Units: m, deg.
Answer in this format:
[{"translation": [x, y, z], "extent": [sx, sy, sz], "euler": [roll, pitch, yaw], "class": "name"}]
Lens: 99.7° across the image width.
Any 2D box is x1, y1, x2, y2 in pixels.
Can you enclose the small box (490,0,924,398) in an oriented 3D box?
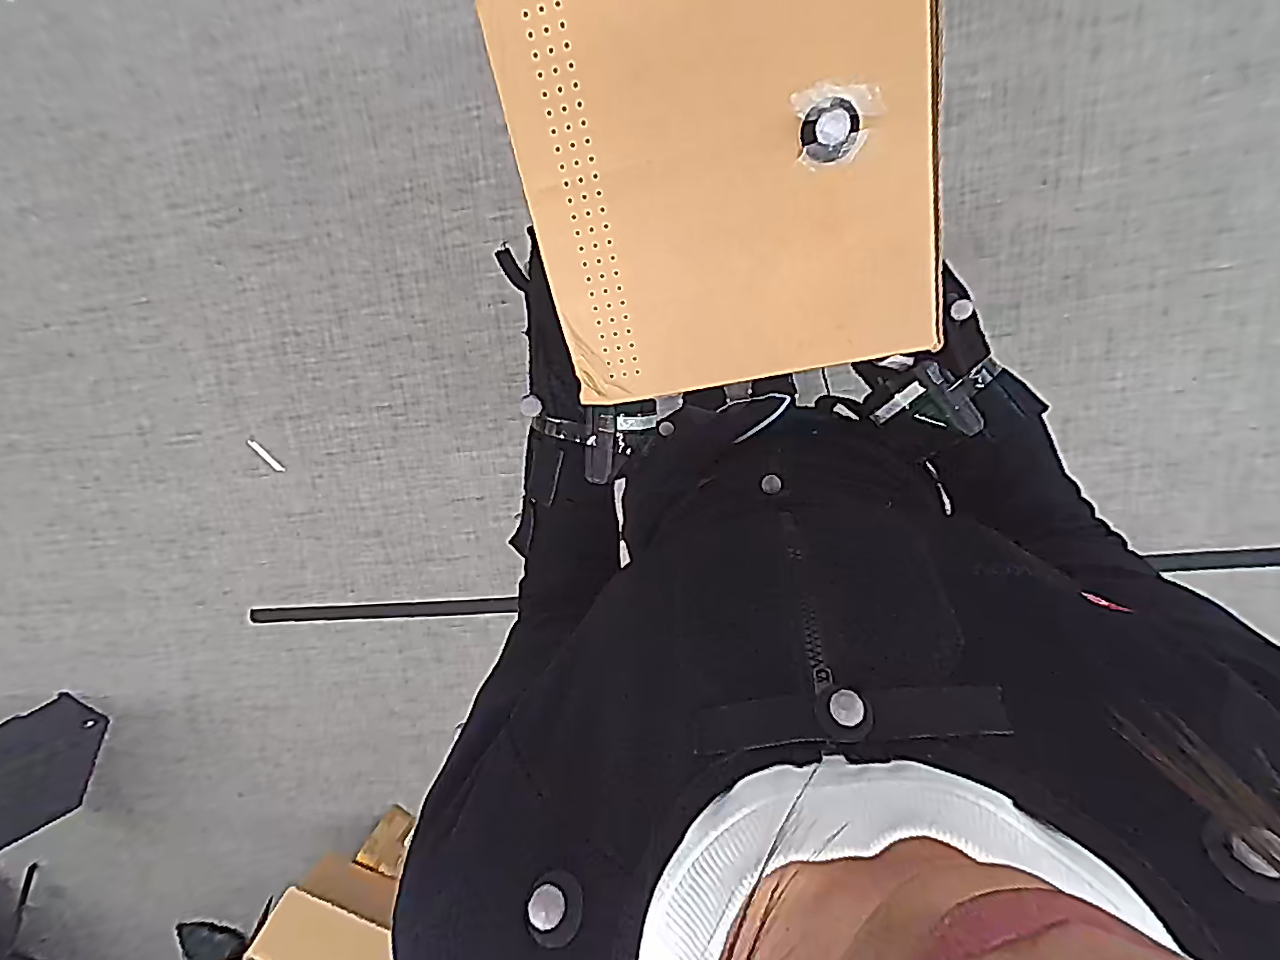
[{"translation": [0.038, -0.161, 0.302], "extent": [0.176, 0.168, 0.179], "euler": [-8, 113, 12], "class": "small box"}]
